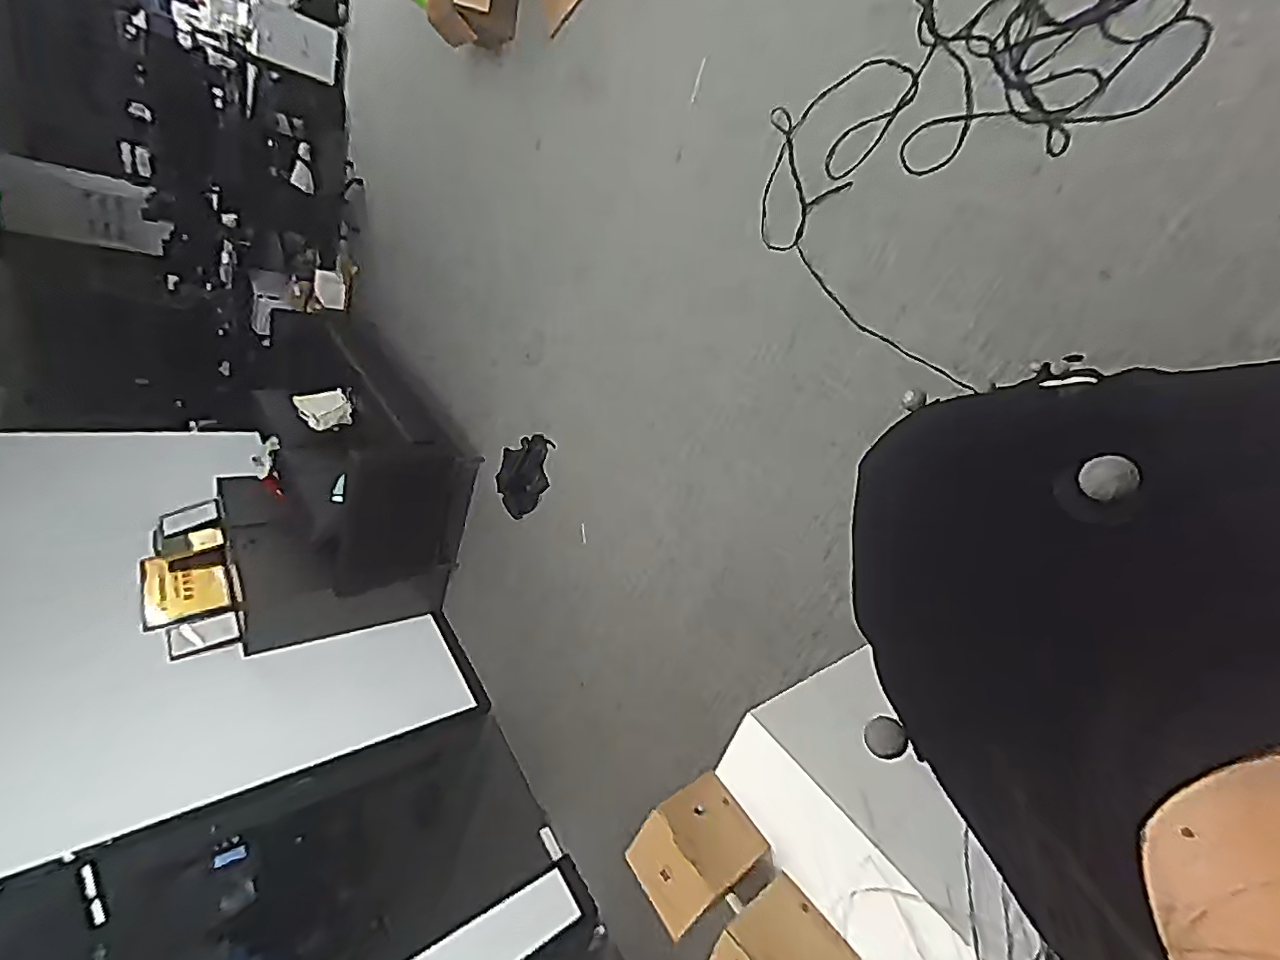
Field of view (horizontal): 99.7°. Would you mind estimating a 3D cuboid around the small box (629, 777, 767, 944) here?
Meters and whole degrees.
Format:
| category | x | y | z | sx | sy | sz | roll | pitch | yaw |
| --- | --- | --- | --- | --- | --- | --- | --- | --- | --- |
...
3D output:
| category | x | y | z | sx | sy | sz | roll | pitch | yaw |
| --- | --- | --- | --- | --- | --- | --- | --- | --- | --- |
| small box | 0.112 | 0.707 | 1.024 | 0.168 | 0.176 | 0.179 | 44 | 125 | 38 |
